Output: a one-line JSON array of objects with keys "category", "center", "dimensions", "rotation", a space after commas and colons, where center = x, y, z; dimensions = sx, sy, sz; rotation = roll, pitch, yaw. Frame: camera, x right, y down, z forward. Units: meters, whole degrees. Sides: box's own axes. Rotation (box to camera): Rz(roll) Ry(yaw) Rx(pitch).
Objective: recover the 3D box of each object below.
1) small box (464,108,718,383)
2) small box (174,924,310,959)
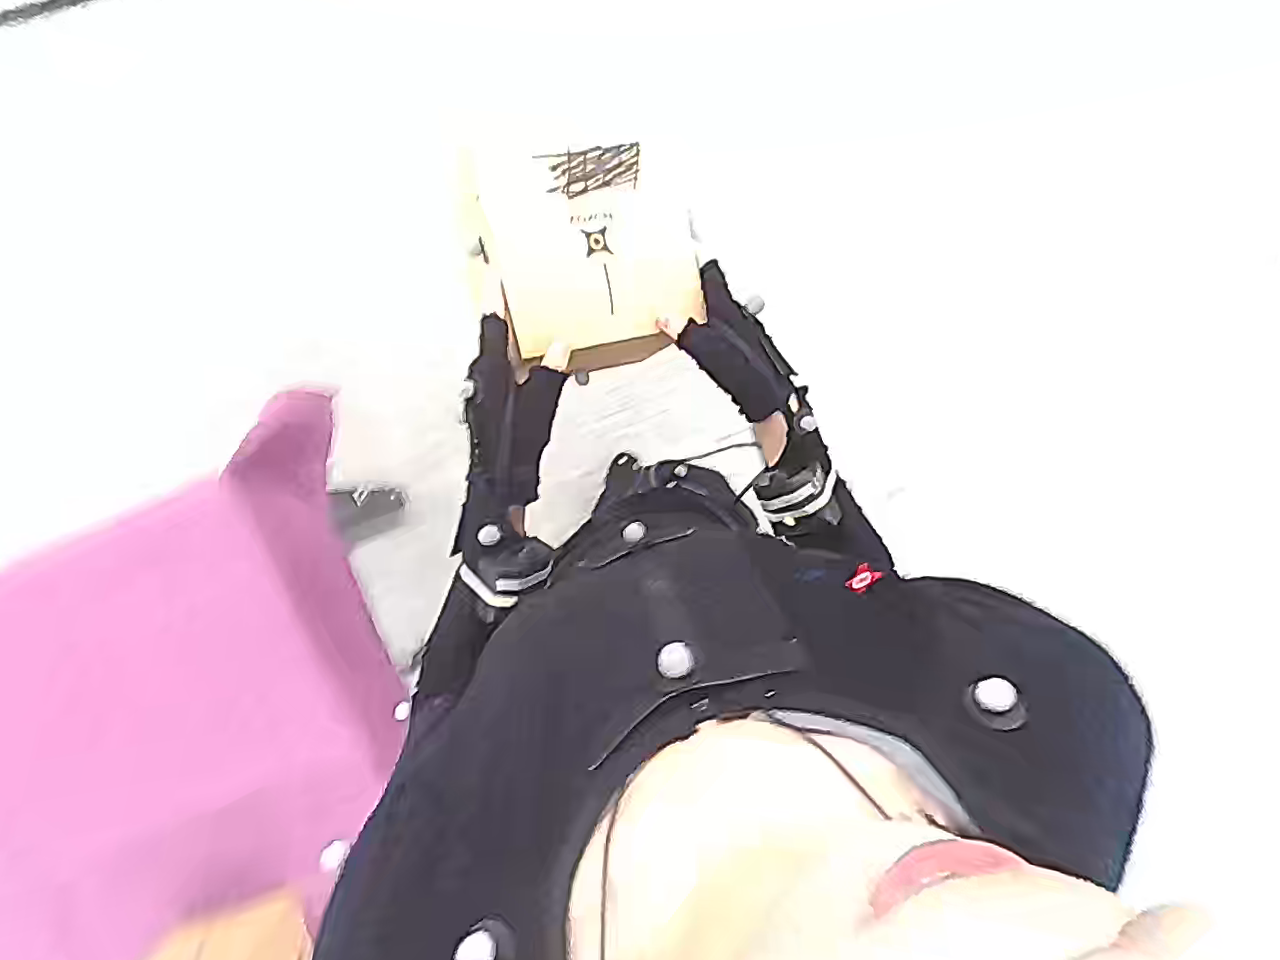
[{"category": "small box", "center": [-0.056, -0.200, 0.496], "dimensions": [0.168, 0.176, 0.179], "rotation": [-17, 97, -19]}, {"category": "small box", "center": [-0.518, 0.691, 0.652], "dimensions": [0.168, 0.176, 0.179], "rotation": [-17, 90, -5]}]
